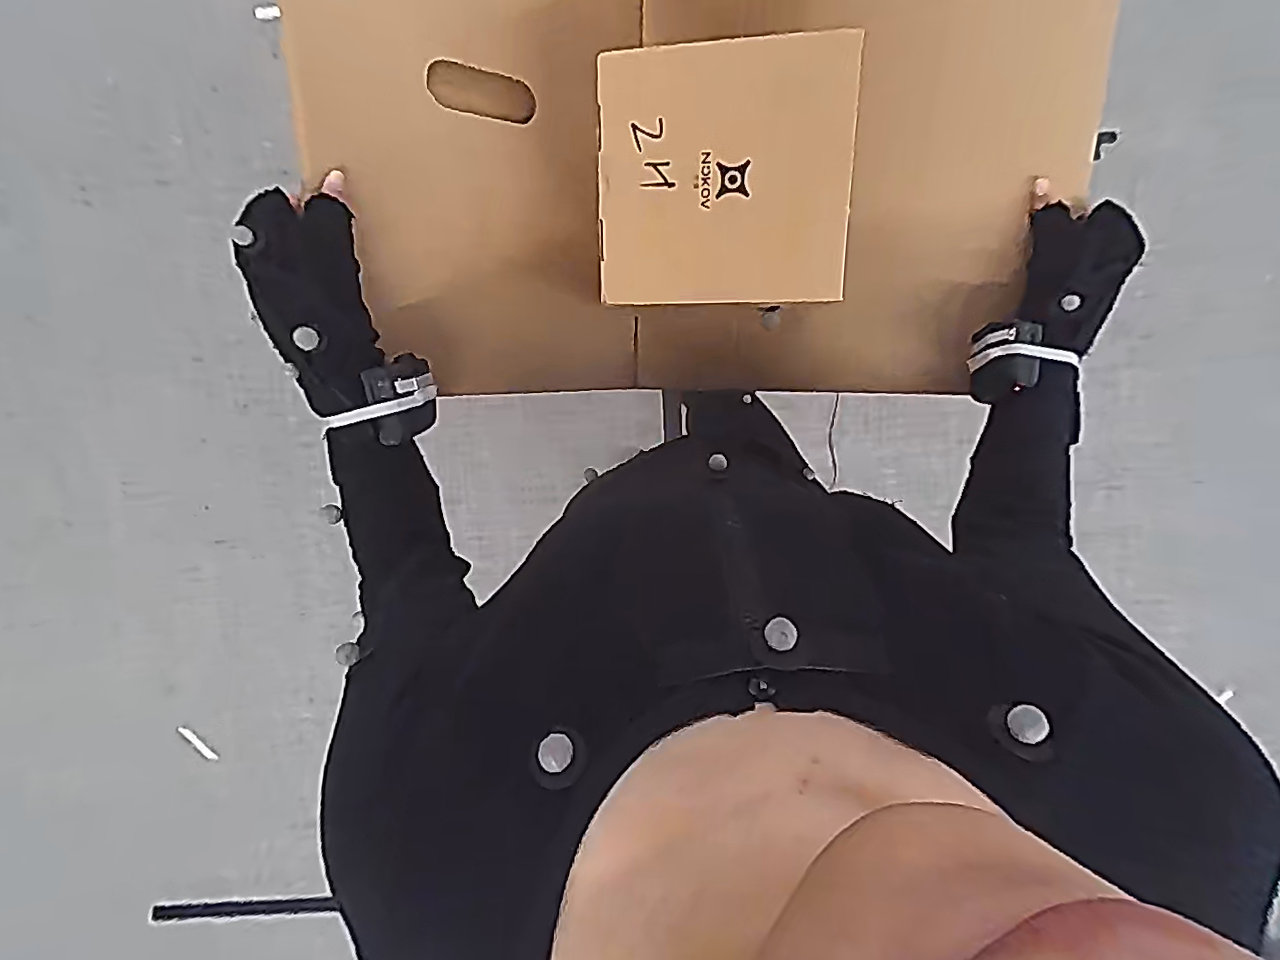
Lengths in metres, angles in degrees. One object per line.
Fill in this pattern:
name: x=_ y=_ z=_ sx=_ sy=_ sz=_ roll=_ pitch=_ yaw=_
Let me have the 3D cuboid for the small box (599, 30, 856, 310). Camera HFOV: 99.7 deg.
small box: x=0.068 y=-0.238 z=0.461 sx=0.179 sy=0.176 sz=0.168 roll=3 pitch=104 yaw=10
